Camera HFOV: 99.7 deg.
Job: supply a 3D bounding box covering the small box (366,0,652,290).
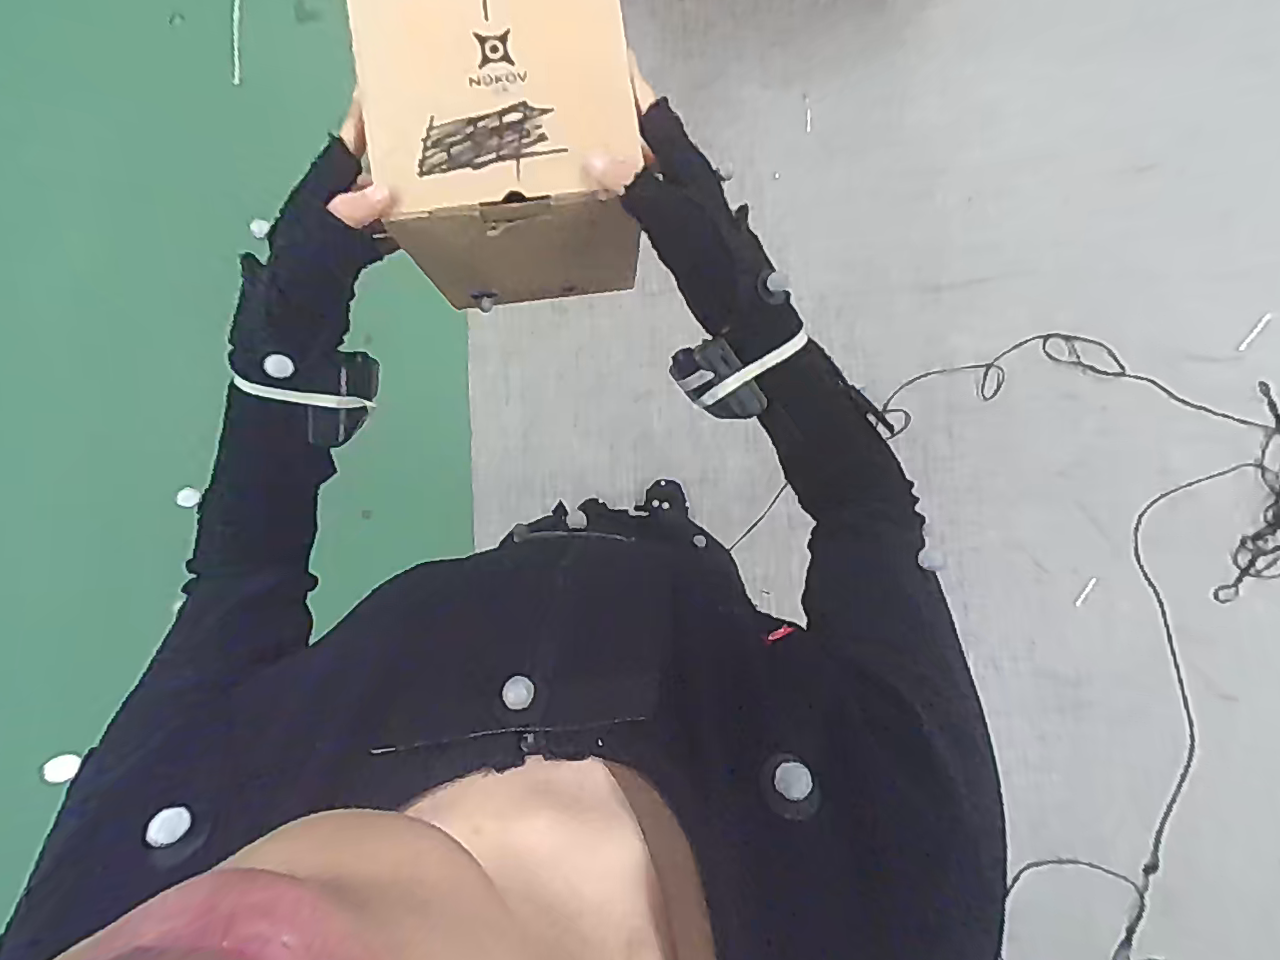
[{"bbox_3d":[-0.085,-0.258,0.413,0.168,0.176,0.179,-7,88,-4],"label":"small box"}]
